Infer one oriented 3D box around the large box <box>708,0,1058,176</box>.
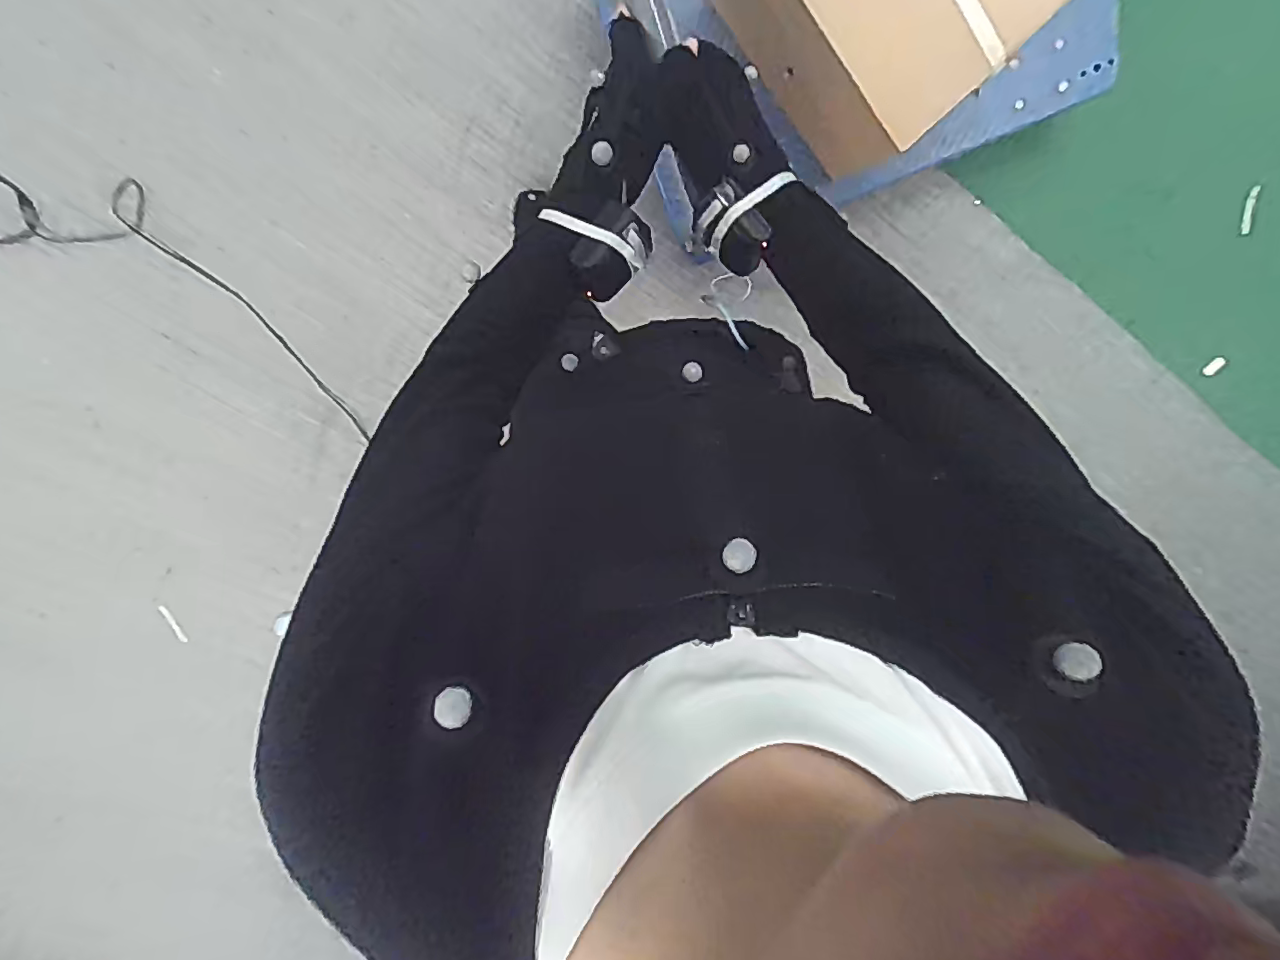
[{"bbox_3d":[0.353,-0.770,0.845,0.320,0.320,0.408,-39,106,15],"label":"large box"}]
